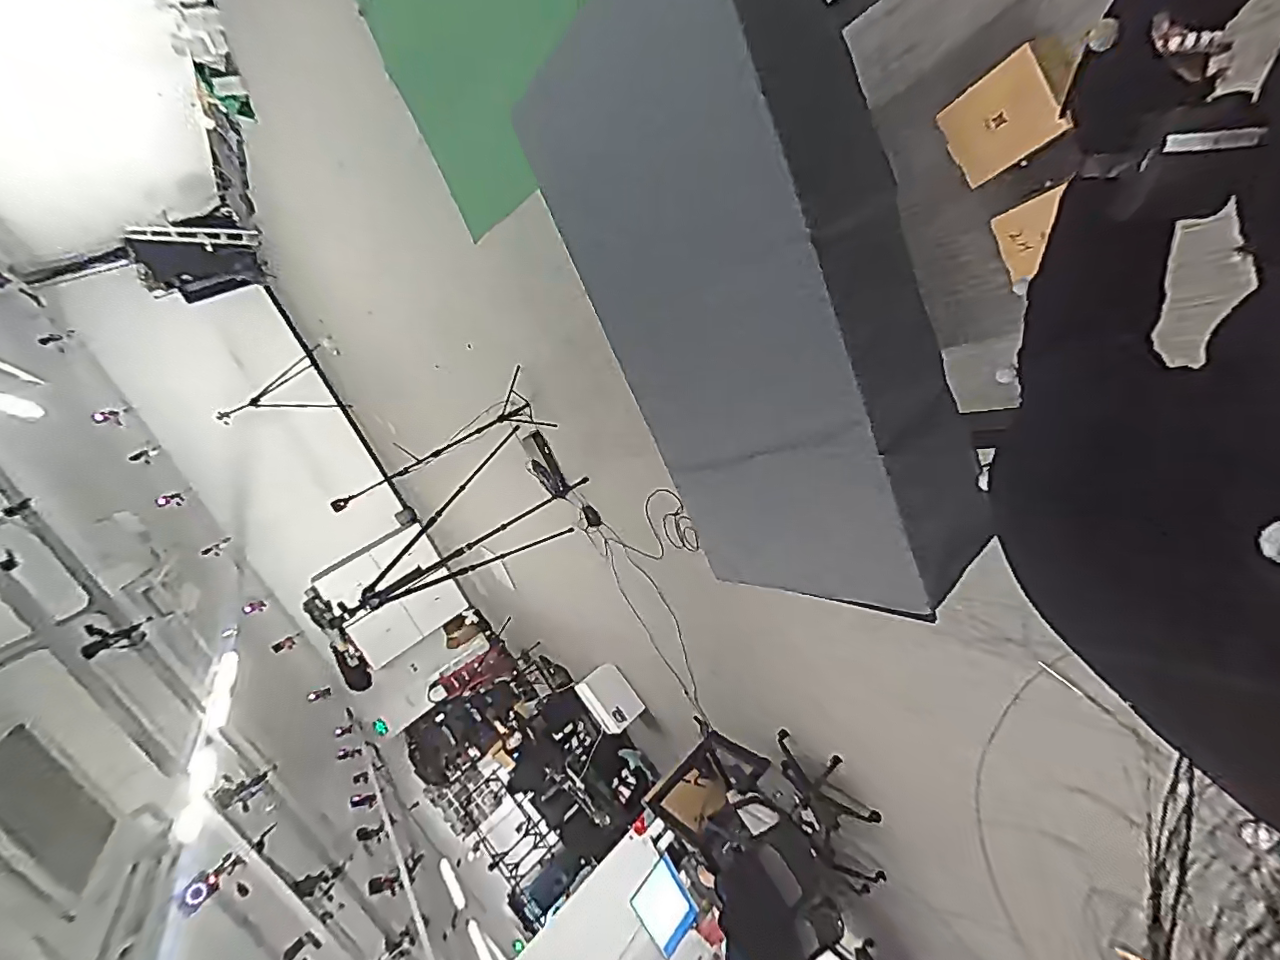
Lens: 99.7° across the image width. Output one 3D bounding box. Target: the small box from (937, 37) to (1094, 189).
[{"bbox_3d":[0.734,-0.715,1.059,0.168,0.176,0.179,58,152,-6],"label":"small box"}]
